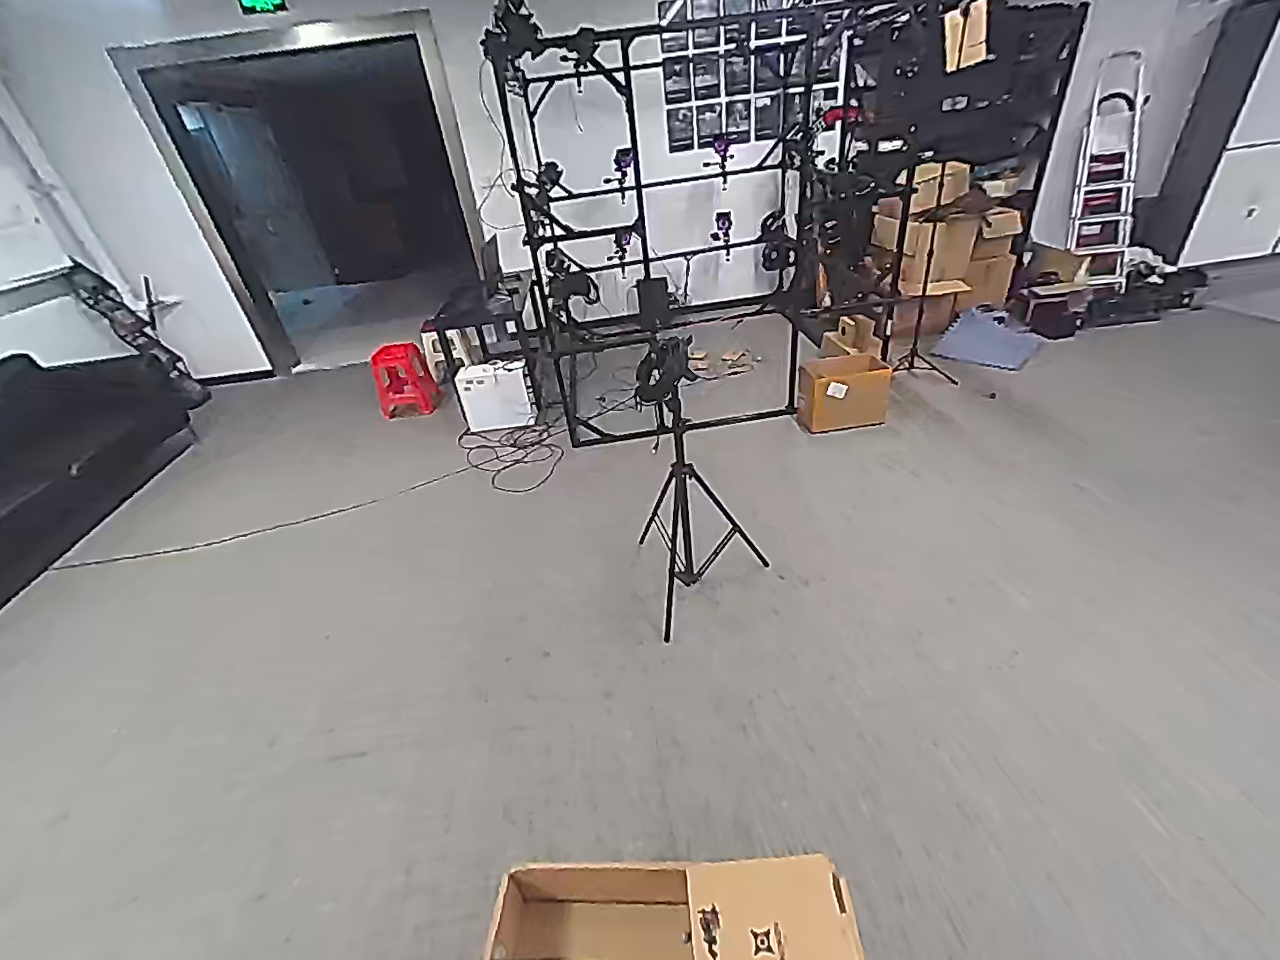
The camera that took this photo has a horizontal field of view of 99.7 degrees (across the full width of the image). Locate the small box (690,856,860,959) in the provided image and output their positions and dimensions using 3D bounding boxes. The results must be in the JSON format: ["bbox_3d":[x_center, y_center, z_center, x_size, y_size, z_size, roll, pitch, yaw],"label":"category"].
[{"bbox_3d":[0.154,0.570,0.629,0.179,0.176,0.168,-5,32,3],"label":"small box"}]
